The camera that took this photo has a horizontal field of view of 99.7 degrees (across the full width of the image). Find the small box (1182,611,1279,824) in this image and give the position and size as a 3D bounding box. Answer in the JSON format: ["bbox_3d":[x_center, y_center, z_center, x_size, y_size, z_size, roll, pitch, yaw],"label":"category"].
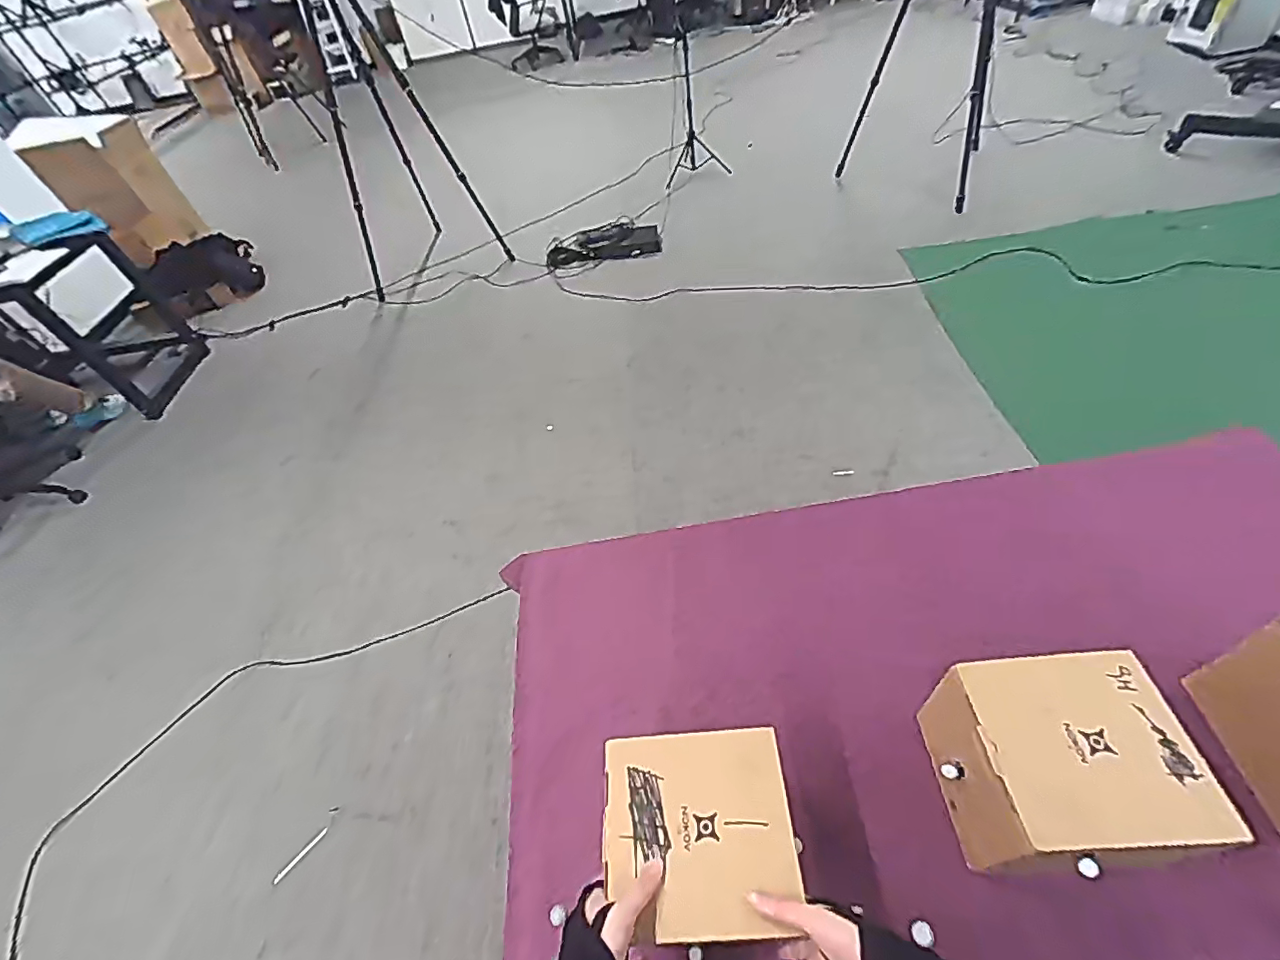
[{"bbox_3d":[0.728,0.245,0.546,0.168,0.176,0.179,-6,49,6],"label":"small box"}]

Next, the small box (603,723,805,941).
[{"bbox_3d":[0.063,0.372,0.567,0.179,0.176,0.168,-7,48,5],"label":"small box"}]

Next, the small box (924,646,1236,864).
[{"bbox_3d":[0.420,0.291,0.565,0.179,0.176,0.168,-6,48,6],"label":"small box"}]
